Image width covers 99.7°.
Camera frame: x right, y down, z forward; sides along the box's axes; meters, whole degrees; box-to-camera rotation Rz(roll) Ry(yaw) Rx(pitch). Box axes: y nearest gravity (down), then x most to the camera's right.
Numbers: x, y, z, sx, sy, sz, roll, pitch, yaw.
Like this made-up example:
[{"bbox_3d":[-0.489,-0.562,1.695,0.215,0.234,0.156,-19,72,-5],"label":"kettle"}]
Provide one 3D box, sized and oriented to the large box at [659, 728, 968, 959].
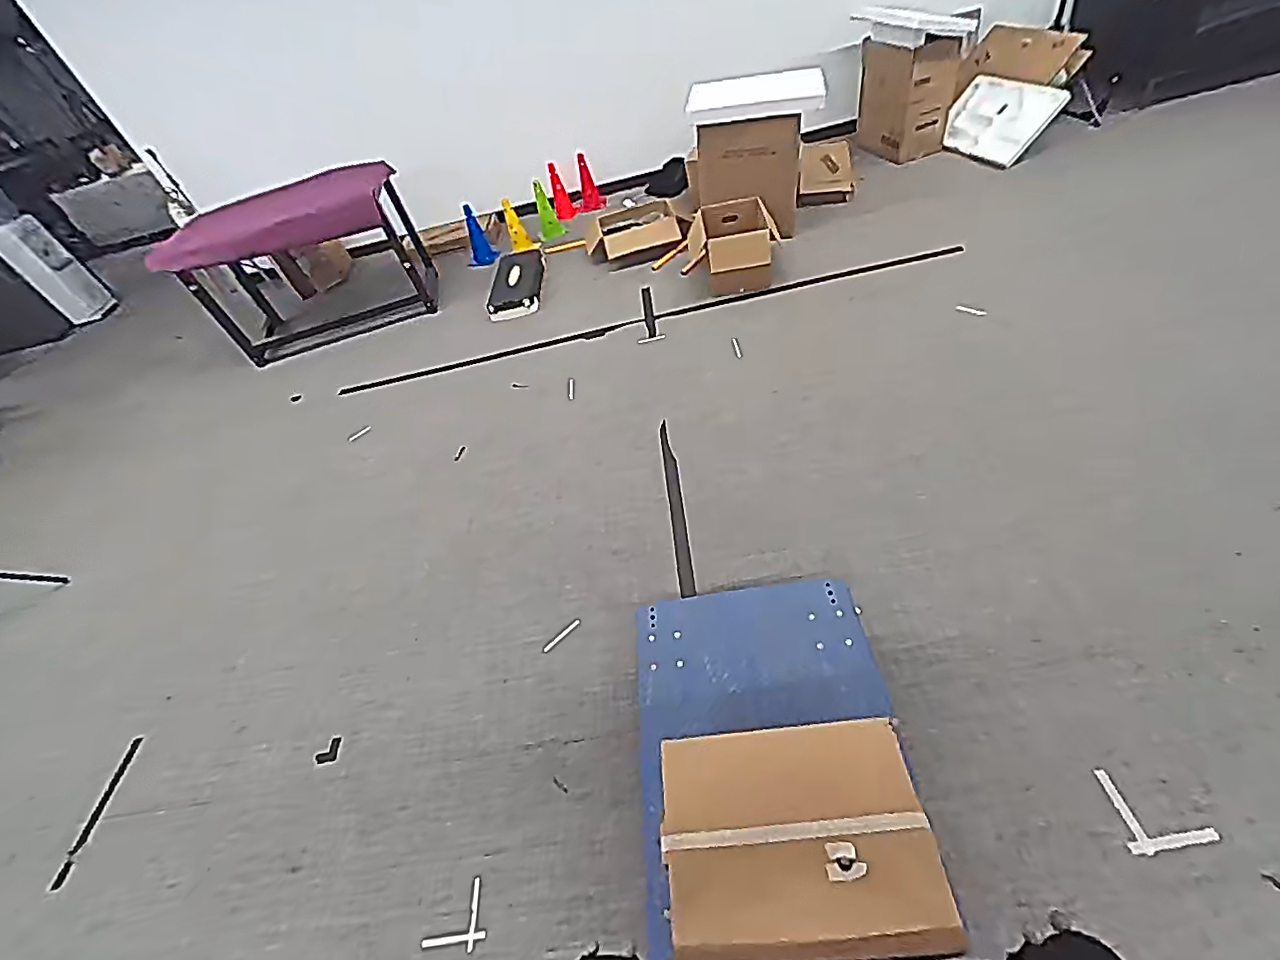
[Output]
[{"bbox_3d":[0.261,0.667,0.942,0.408,0.320,0.320,-9,46,6],"label":"large box"}]
